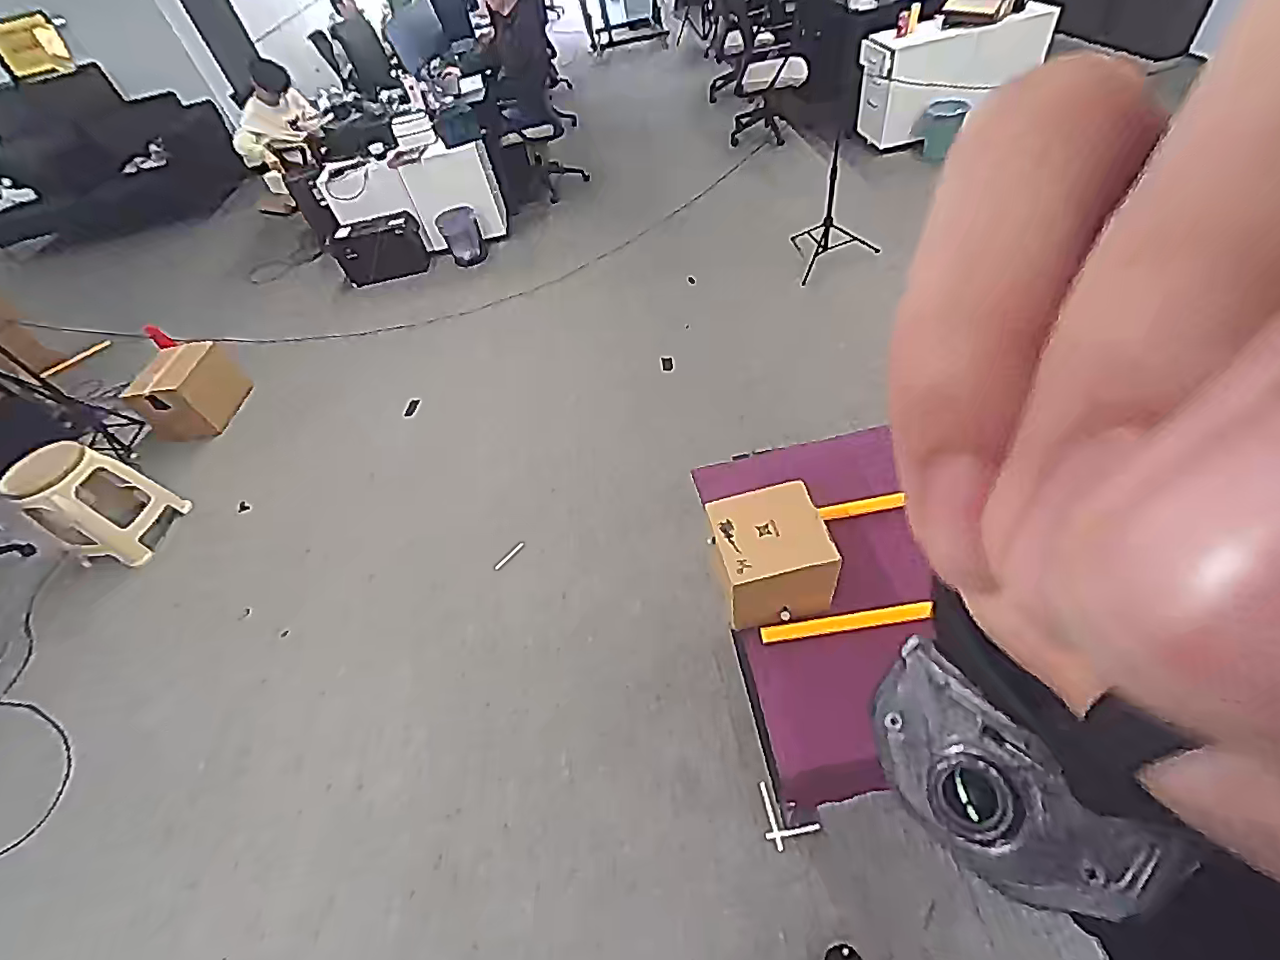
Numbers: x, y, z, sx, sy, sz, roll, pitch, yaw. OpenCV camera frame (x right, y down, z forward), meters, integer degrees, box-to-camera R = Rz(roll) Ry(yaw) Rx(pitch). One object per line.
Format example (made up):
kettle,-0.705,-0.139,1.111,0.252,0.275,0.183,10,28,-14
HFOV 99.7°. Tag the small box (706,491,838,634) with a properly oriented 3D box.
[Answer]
small box,0.220,0.148,0.944,0.179,0.176,0.168,-13,49,0
